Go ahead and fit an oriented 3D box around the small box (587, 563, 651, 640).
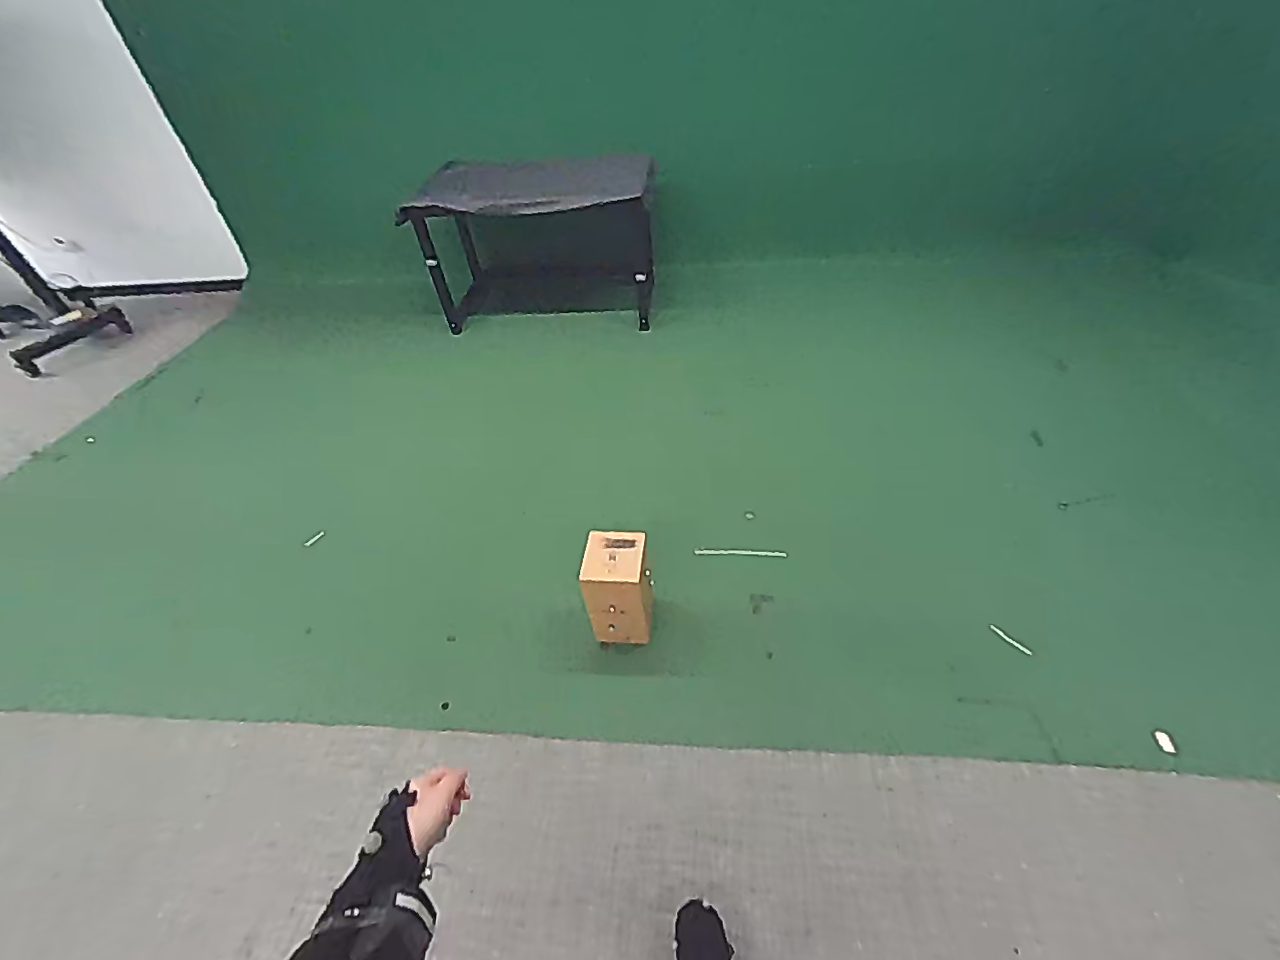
[{"bbox_3d":[-0.056,0.375,1.662,0.168,0.176,0.179,1,43,8],"label":"small box"}]
